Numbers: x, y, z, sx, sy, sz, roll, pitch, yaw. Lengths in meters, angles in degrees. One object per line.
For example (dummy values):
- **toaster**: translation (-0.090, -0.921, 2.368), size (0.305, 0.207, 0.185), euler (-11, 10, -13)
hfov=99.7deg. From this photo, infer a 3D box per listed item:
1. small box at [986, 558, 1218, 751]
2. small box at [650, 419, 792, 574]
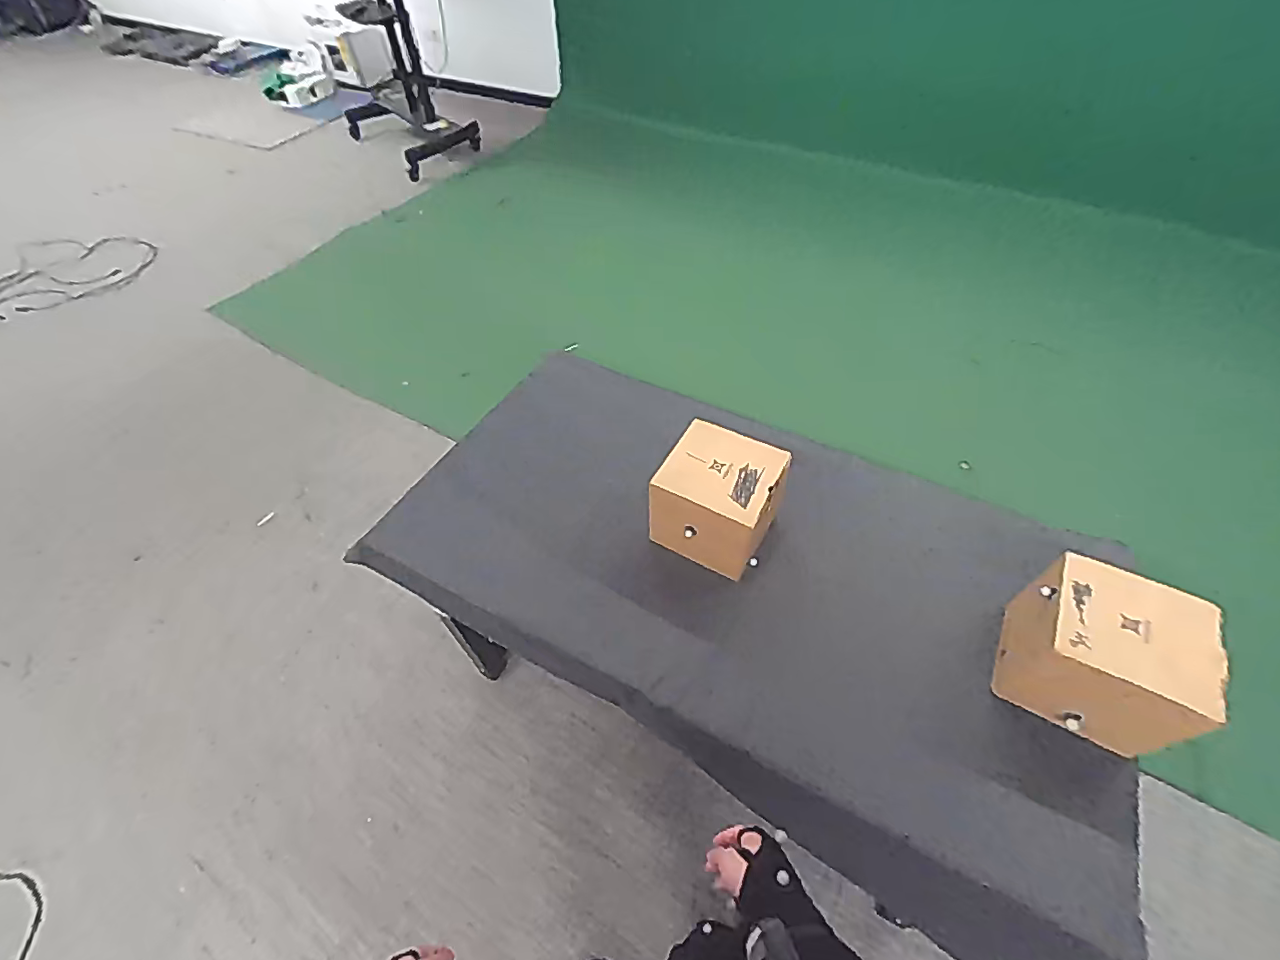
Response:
- **small box**: translation (0.620, 0.244, 0.742), size (0.179, 0.176, 0.168), euler (25, 55, 18)
- **small box**: translation (0.130, 0.033, 0.910), size (0.179, 0.176, 0.168), euler (24, 55, 19)
